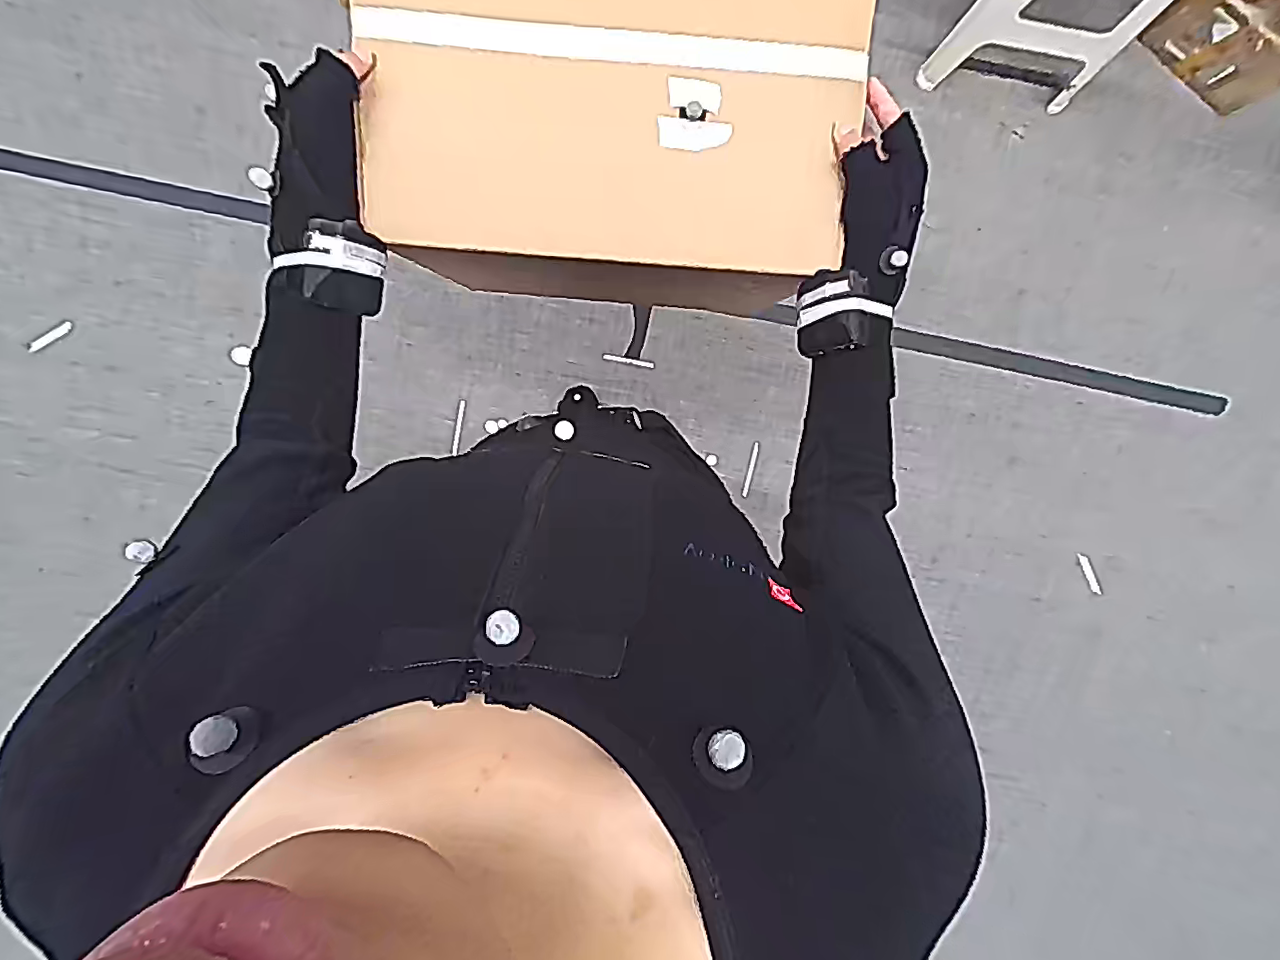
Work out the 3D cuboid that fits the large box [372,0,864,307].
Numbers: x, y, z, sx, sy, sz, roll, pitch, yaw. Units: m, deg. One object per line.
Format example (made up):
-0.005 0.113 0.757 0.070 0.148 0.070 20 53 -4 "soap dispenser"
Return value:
-0.025 -0.375 0.590 0.408 0.320 0.320 3 102 -3 "large box"
